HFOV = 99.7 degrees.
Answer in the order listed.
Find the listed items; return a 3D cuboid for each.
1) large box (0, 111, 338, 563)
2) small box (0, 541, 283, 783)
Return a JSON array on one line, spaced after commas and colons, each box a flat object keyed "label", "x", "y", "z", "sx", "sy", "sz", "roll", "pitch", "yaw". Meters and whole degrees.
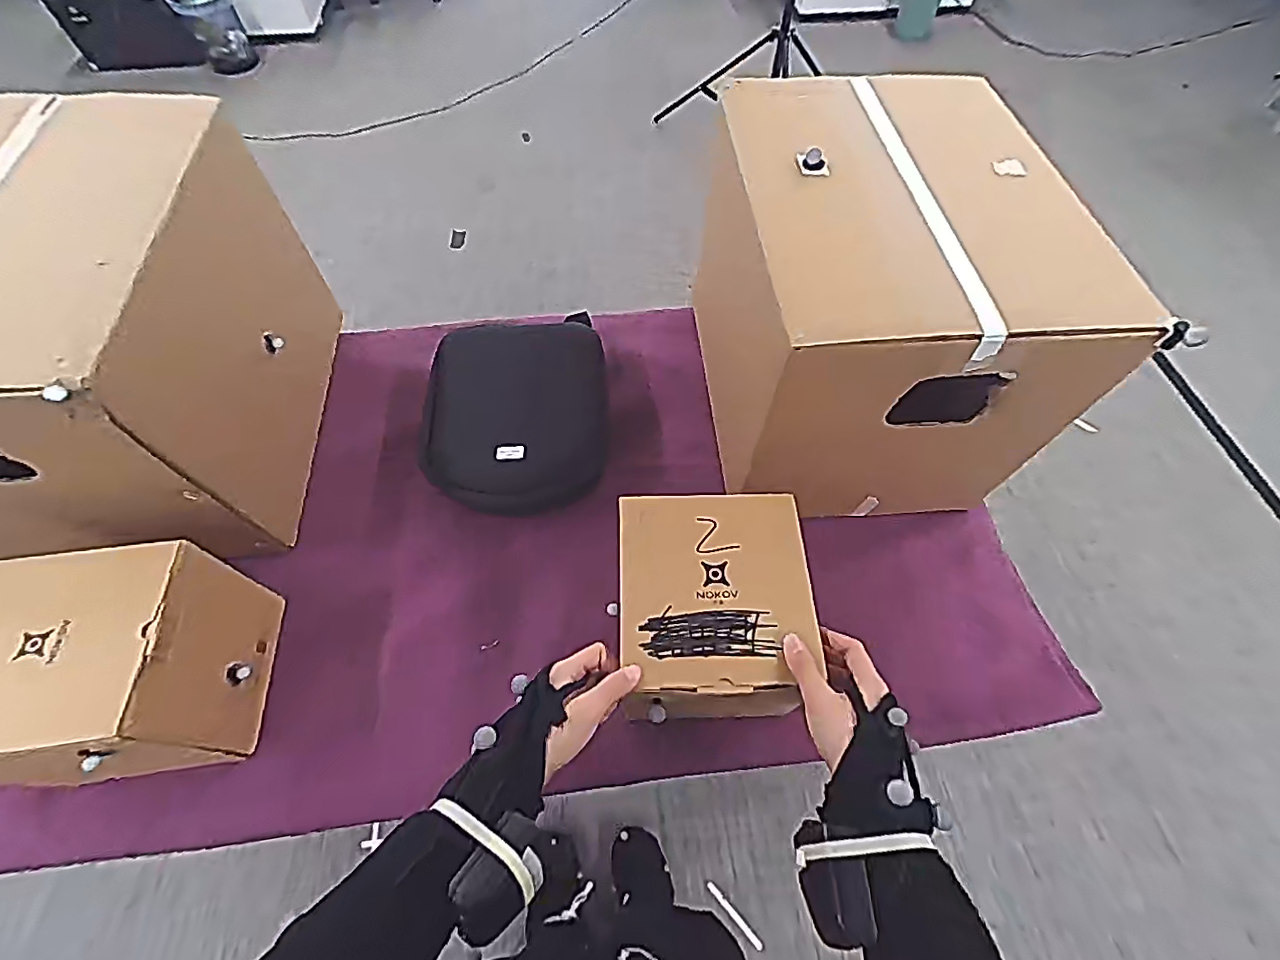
[{"label": "large box", "x": -0.582, "y": -0.142, "z": 0.611, "sx": 0.320, "sy": 0.320, "sz": 0.408, "roll": -6, "pitch": 62, "yaw": -5}, {"label": "small box", "x": -0.483, "y": 0.176, "z": 0.507, "sx": 0.179, "sy": 0.176, "sz": 0.168, "roll": -7, "pitch": 59, "yaw": -6}]
